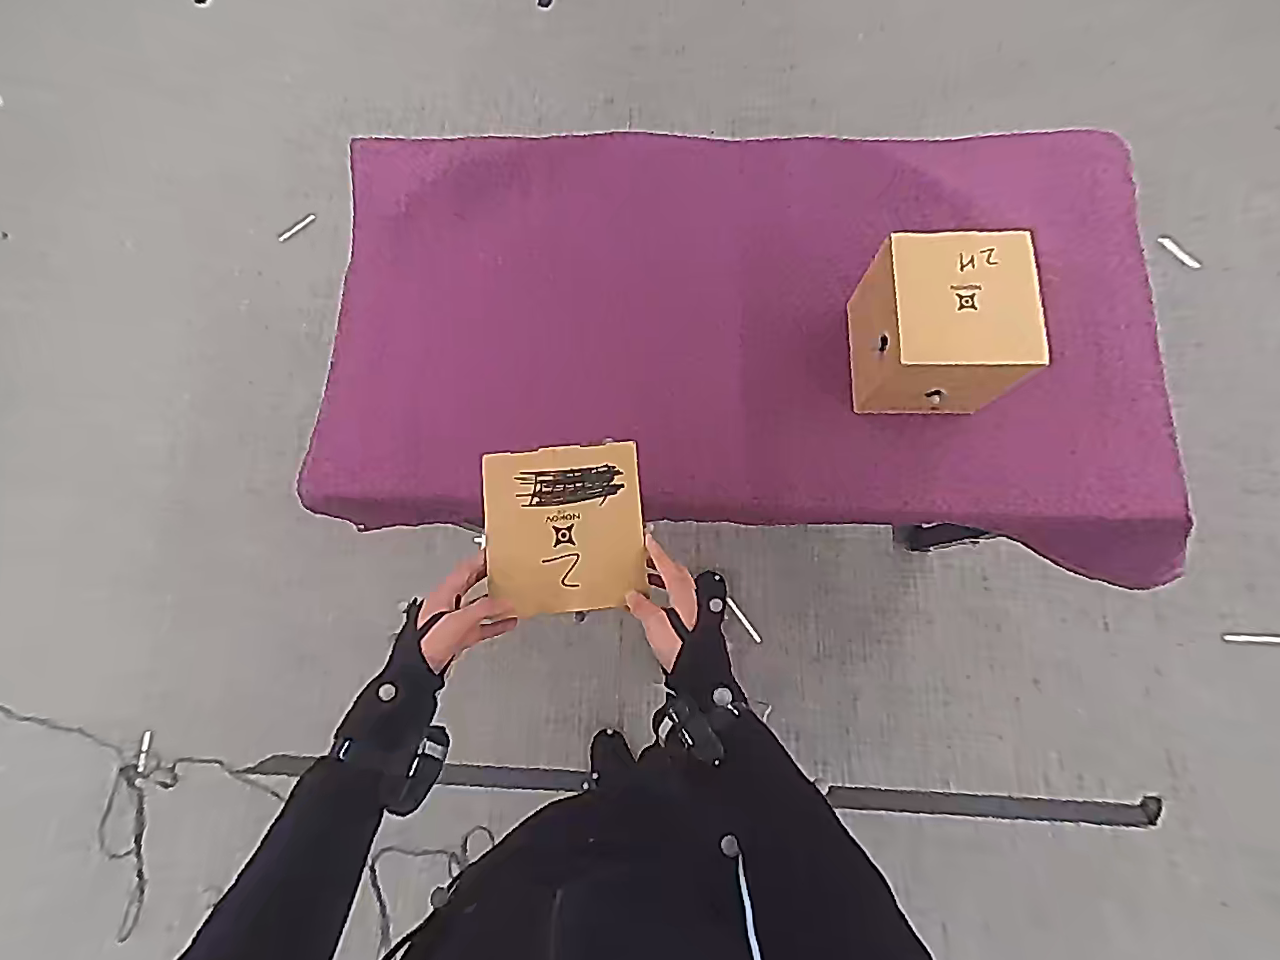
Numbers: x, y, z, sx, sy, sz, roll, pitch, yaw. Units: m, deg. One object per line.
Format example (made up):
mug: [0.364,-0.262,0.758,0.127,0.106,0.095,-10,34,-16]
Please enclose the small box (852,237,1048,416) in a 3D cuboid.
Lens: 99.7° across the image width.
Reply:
small box: [0.390,-0.191,0.712,0.168,0.176,0.179,1,78,4]
